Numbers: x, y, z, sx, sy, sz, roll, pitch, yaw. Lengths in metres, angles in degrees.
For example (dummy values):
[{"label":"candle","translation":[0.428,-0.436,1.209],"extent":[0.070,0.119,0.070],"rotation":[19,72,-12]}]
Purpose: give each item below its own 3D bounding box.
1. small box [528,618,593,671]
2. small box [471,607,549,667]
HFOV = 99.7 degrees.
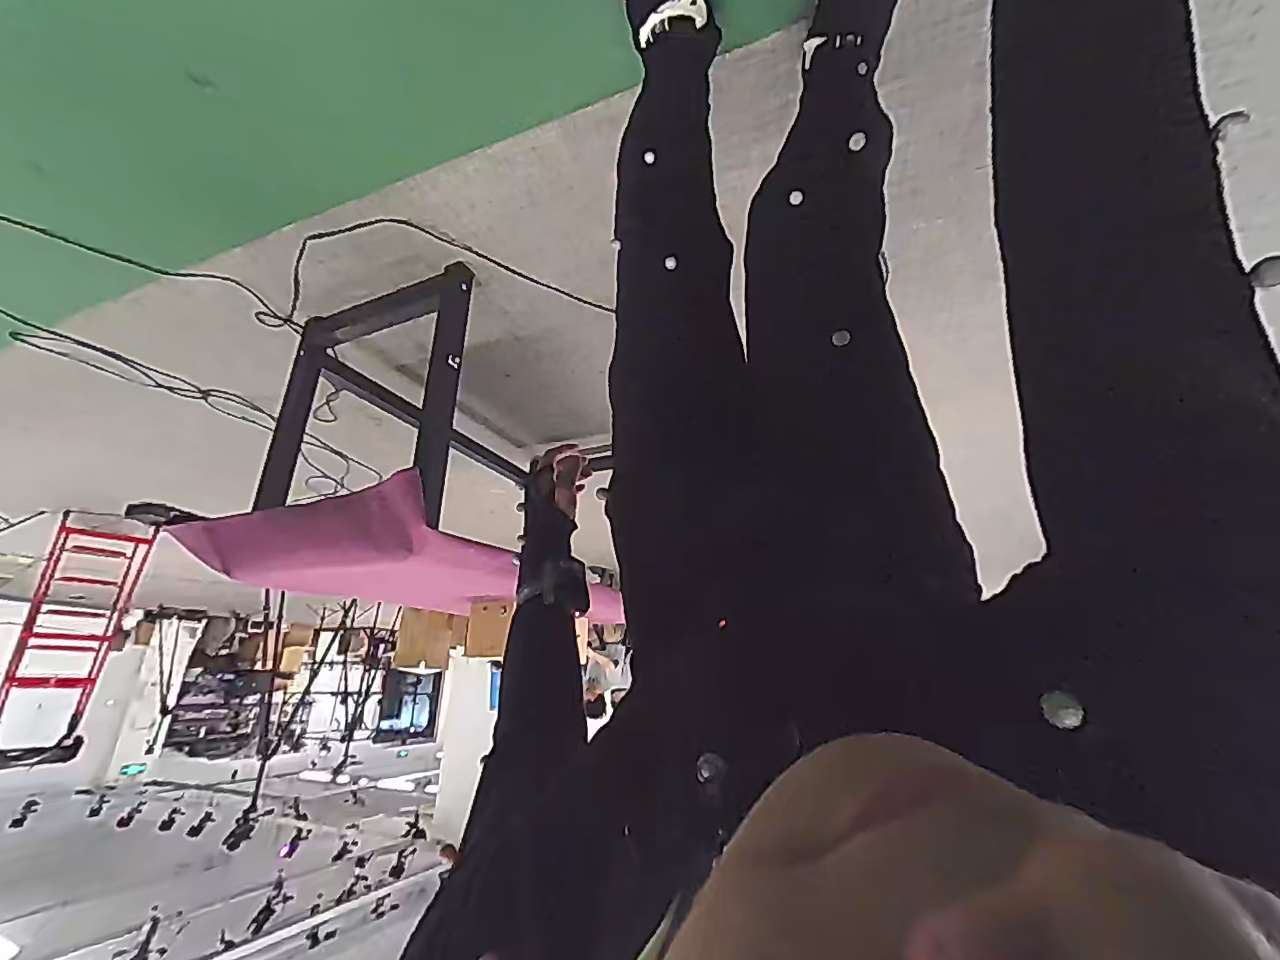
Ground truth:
[{"label":"small box","translation":[-0.282,0.591,1.938],"extent":[0.179,0.176,0.168],"rotation":[-9,156,23]},{"label":"small box","translation":[-0.400,0.492,1.690],"extent":[0.168,0.176,0.179],"rotation":[-8,158,23]}]
